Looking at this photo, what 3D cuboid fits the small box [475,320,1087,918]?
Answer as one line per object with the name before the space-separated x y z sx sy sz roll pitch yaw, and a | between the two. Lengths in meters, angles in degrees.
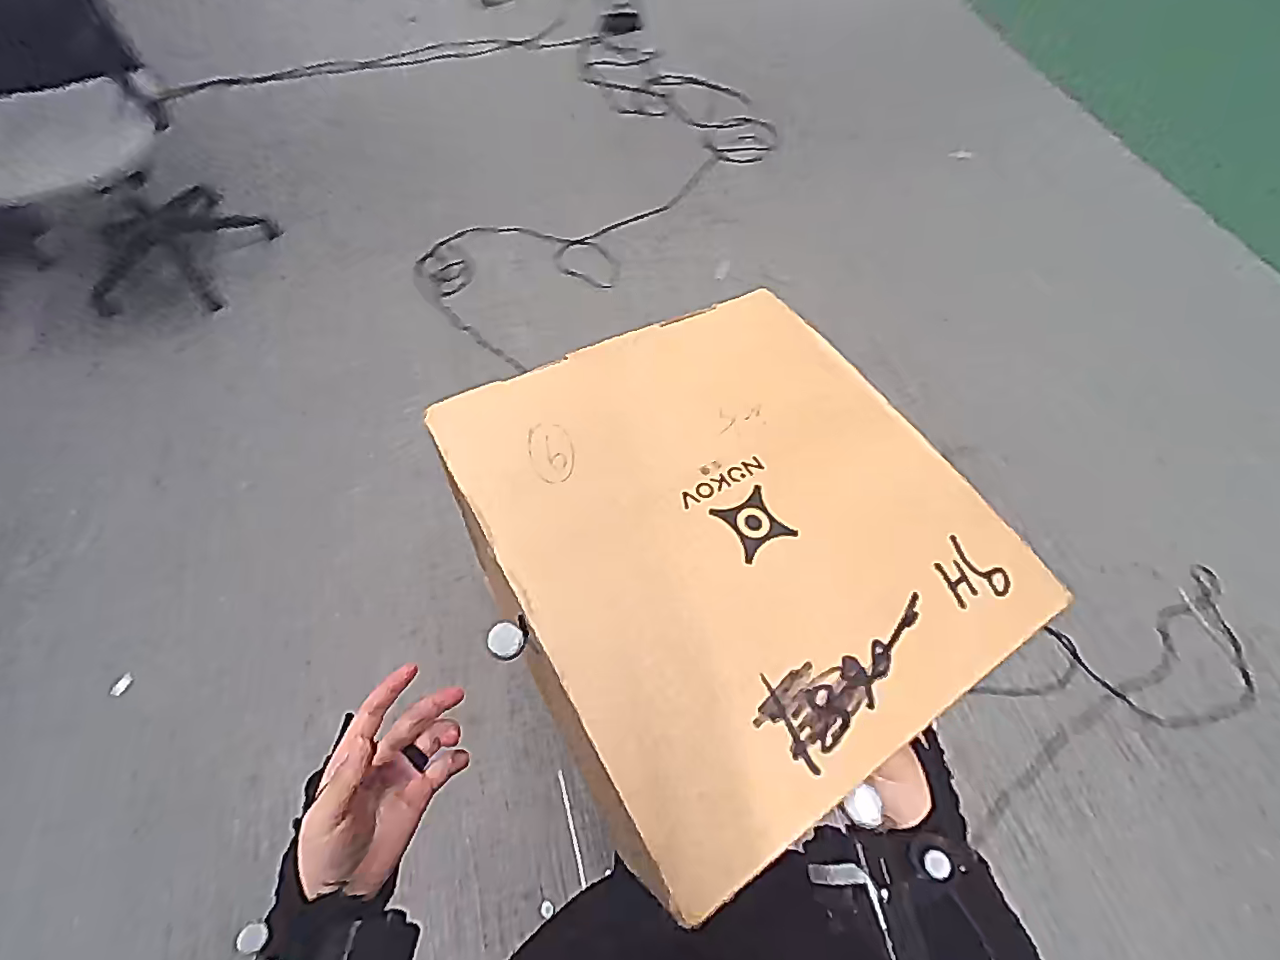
small box | 0.038 0.060 0.265 0.168 0.176 0.179 -25 65 -20
